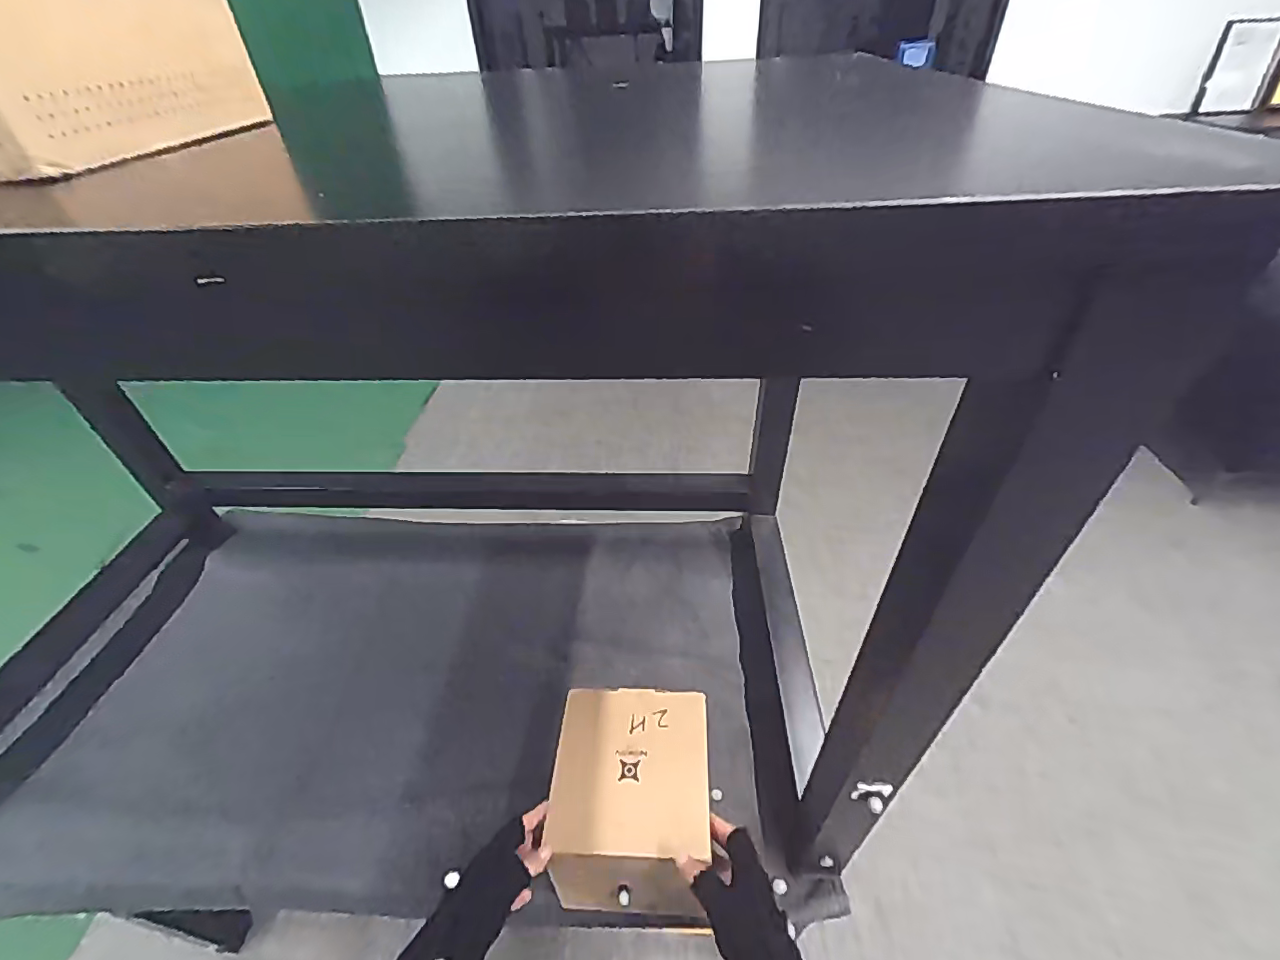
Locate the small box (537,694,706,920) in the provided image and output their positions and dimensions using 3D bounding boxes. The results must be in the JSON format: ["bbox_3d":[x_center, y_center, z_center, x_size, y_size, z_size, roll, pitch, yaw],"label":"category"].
[{"bbox_3d":[-0.008,0.375,0.624,0.168,0.176,0.179,1,36,5],"label":"small box"}]
